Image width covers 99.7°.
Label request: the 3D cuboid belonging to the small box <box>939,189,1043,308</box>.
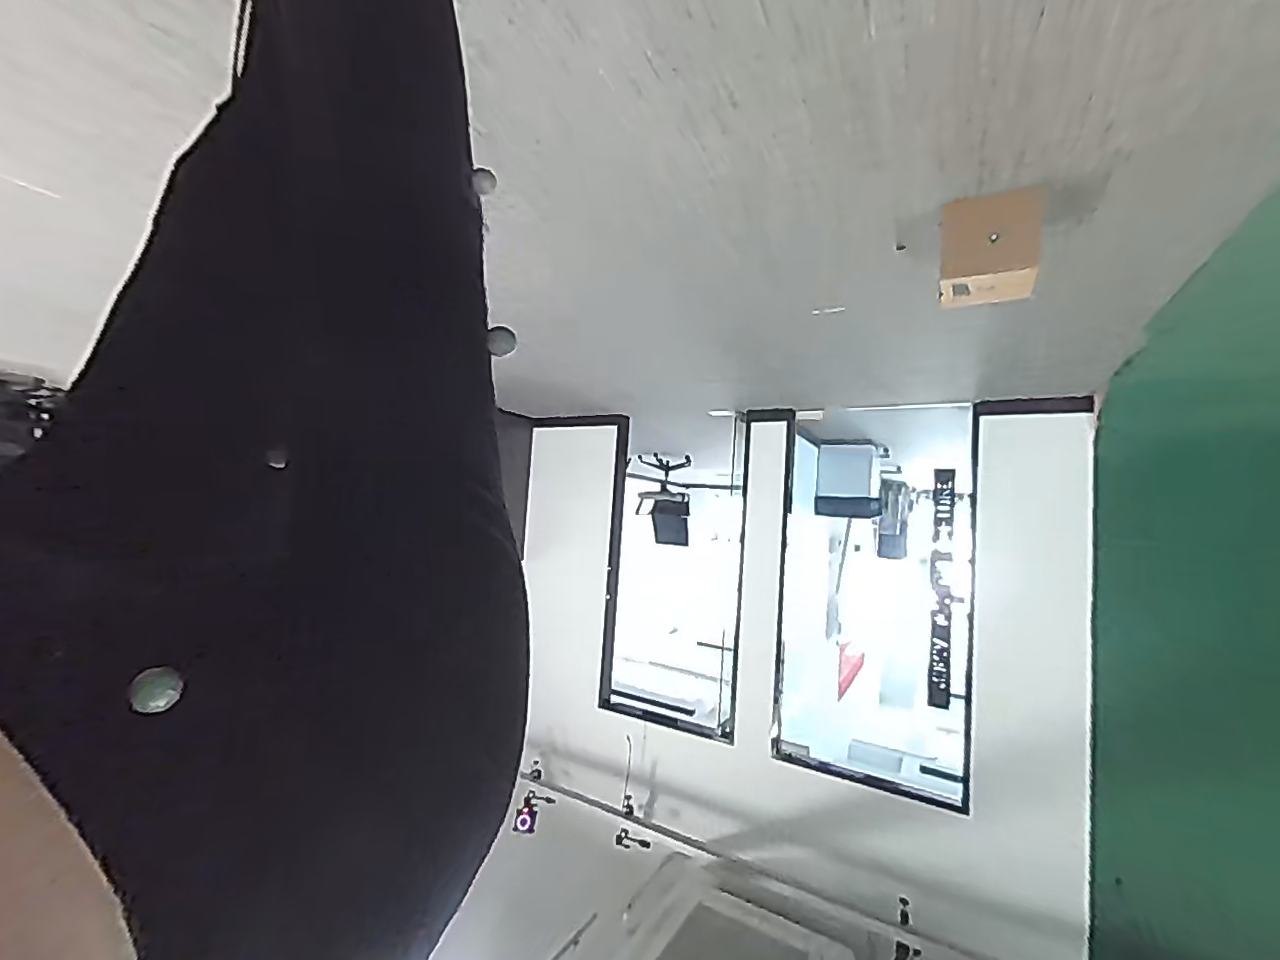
[{"bbox_3d":[0.752,-0.493,1.170,0.179,0.176,0.168,0,176,29],"label":"small box"}]
